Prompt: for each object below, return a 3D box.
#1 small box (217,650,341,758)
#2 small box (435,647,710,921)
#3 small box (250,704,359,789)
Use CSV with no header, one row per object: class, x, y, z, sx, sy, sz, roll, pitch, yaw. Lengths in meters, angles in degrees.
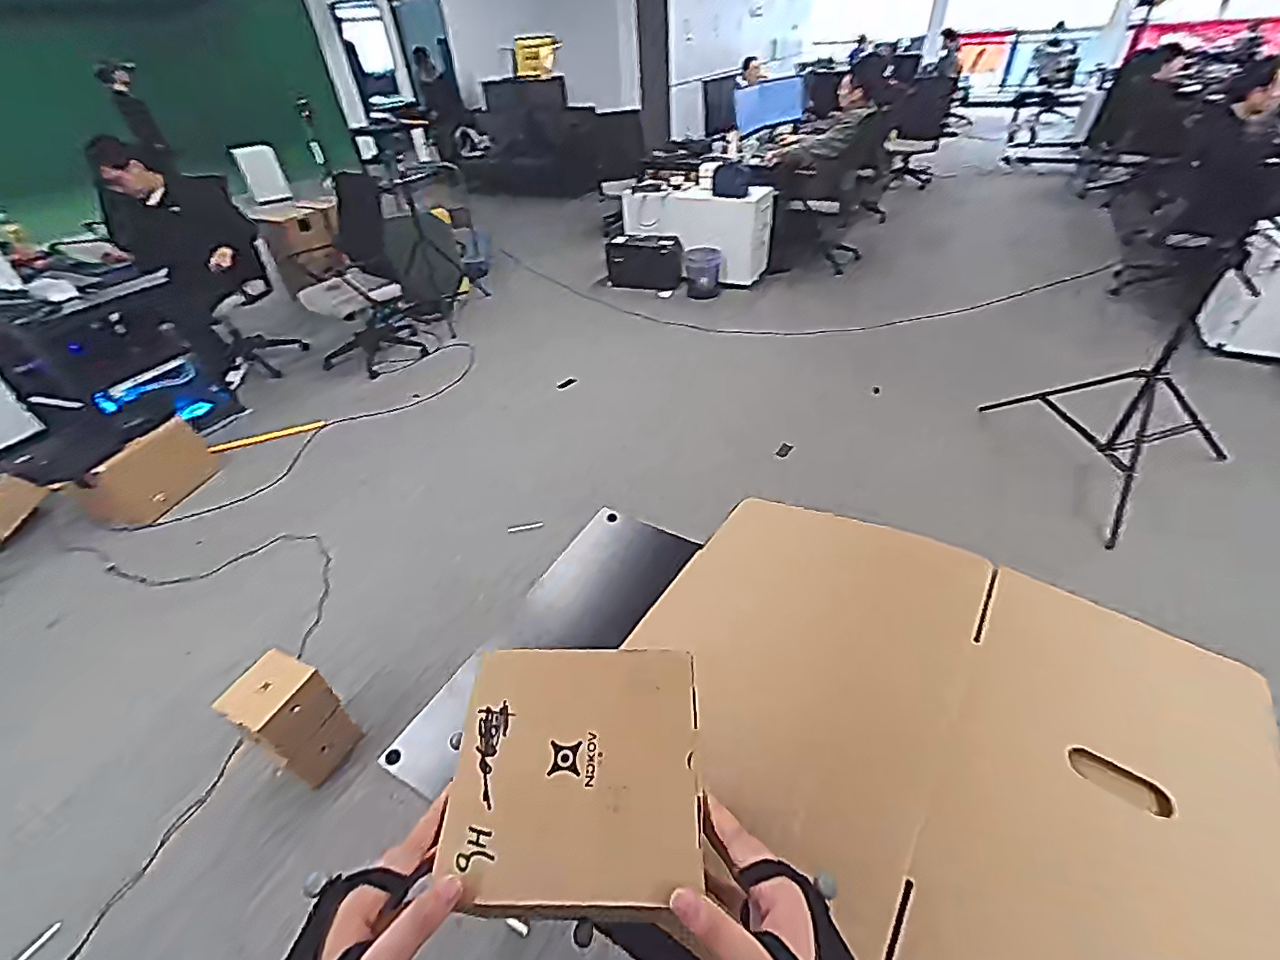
small box,-0.918,0.580,1.394,0.168,0.176,0.179,14,42,19
small box,-0.043,0.254,0.451,0.179,0.176,0.168,0,47,0
small box,-0.912,0.709,1.493,0.168,0.176,0.179,15,44,22
